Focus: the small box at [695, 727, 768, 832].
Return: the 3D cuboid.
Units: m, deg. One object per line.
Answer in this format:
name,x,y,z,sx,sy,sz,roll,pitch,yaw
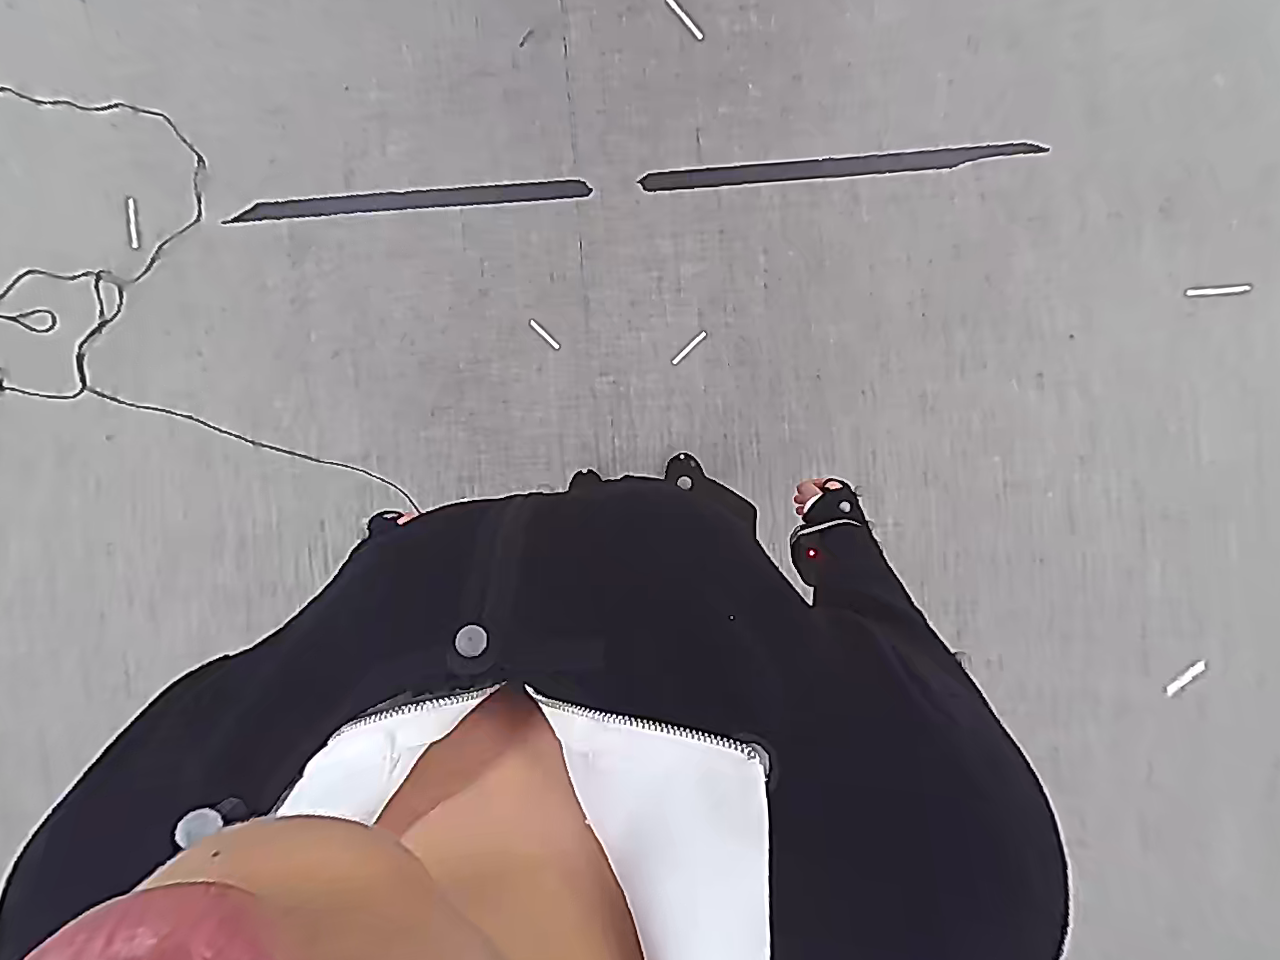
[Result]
small box,0.223,0.733,1.327,0.168,0.176,0.179,-4,93,4
